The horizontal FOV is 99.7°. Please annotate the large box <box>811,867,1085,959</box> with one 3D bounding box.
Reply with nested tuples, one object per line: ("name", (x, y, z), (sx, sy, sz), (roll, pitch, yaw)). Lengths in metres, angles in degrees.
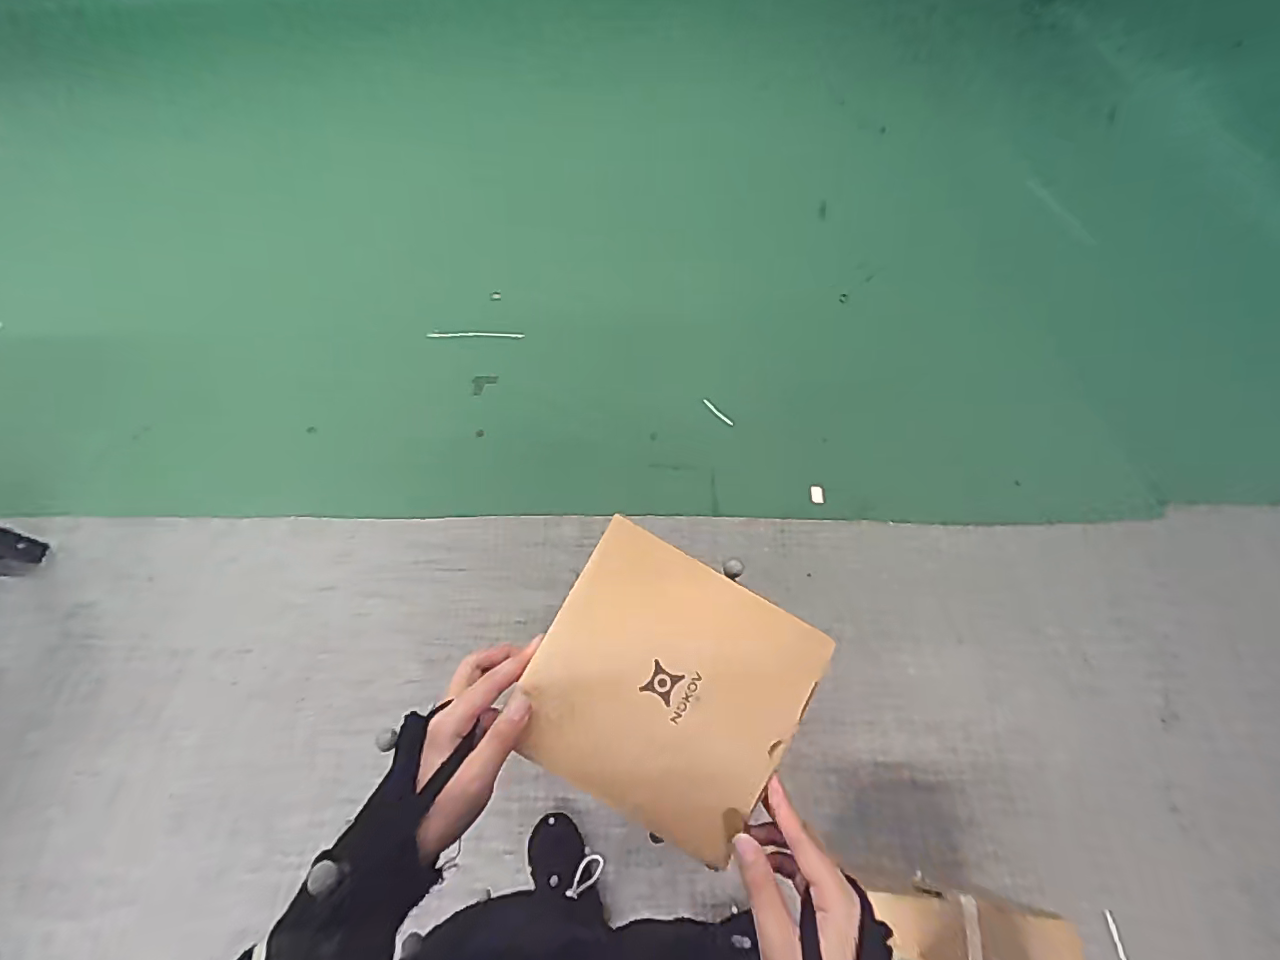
("large box", (0.465, 0.876, 0.834), (0.320, 0.320, 0.408), (5, 62, 5))
